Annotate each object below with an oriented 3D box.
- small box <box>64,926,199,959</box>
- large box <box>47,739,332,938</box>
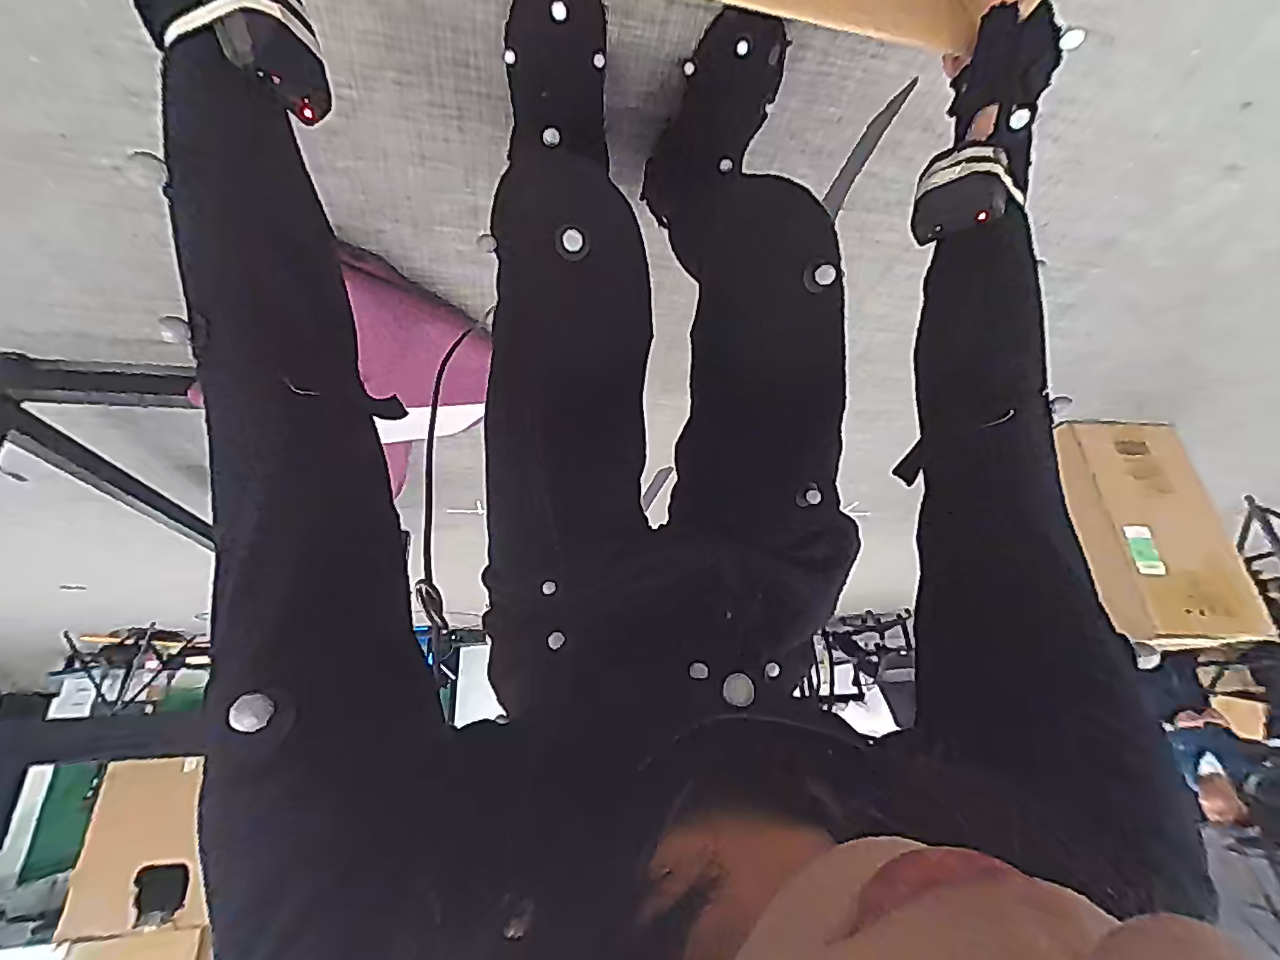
[{"bbox_3d":[-0.979,0.953,1.032,0.179,0.176,0.168,7,155,-21],"label":"small box"},{"bbox_3d":[-0.963,0.776,1.240,0.320,0.320,0.408,0,156,-11],"label":"large box"}]
